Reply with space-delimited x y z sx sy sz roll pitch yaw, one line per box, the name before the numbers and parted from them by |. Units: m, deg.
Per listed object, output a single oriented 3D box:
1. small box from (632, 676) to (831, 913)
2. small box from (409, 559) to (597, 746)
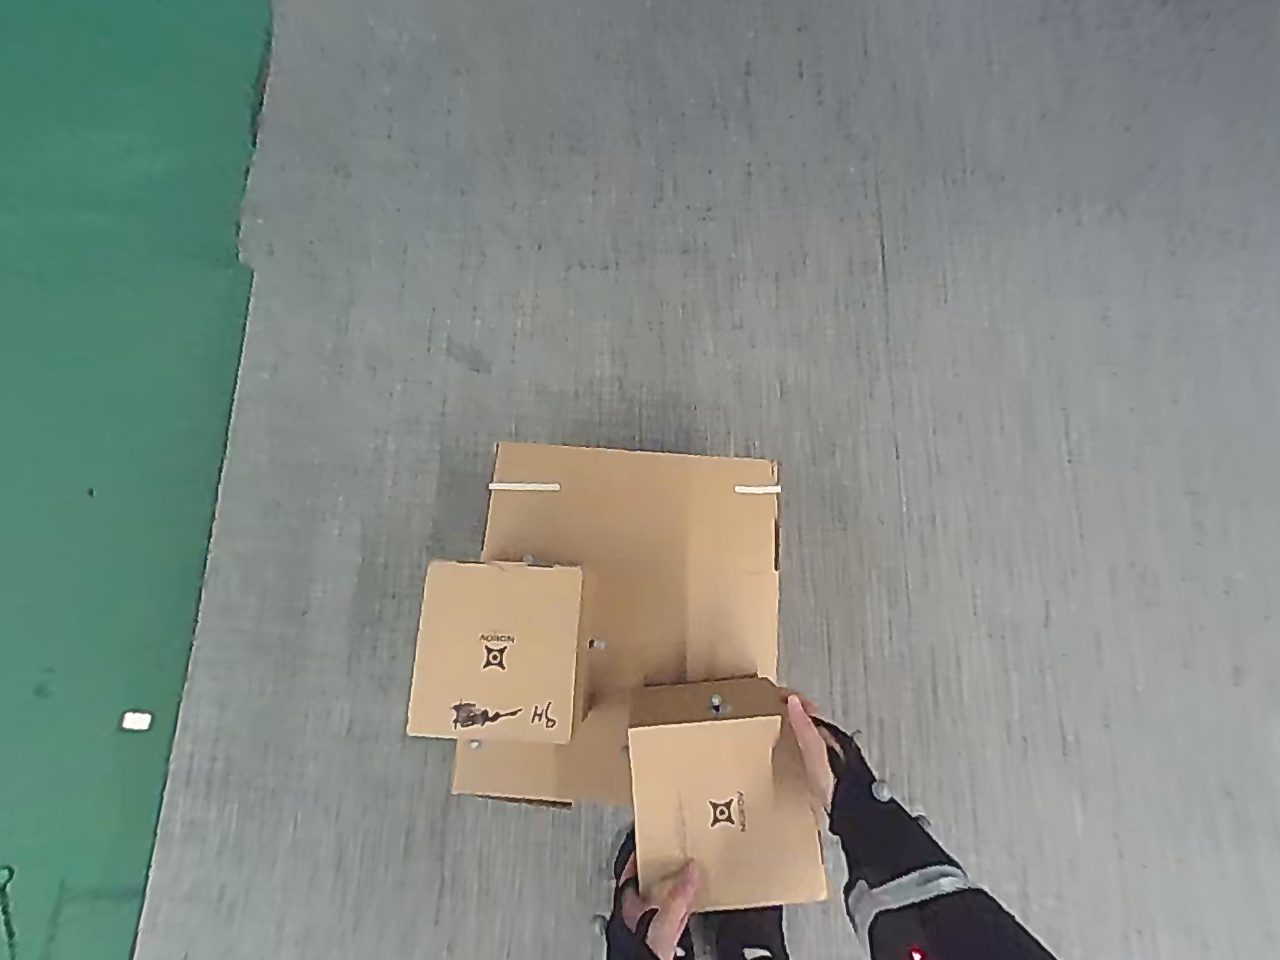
small box | 0.083 0.318 0.584 0.179 0.176 0.168 -5 82 -1
small box | -0.141 0.191 0.625 0.168 0.176 0.179 3 77 1
